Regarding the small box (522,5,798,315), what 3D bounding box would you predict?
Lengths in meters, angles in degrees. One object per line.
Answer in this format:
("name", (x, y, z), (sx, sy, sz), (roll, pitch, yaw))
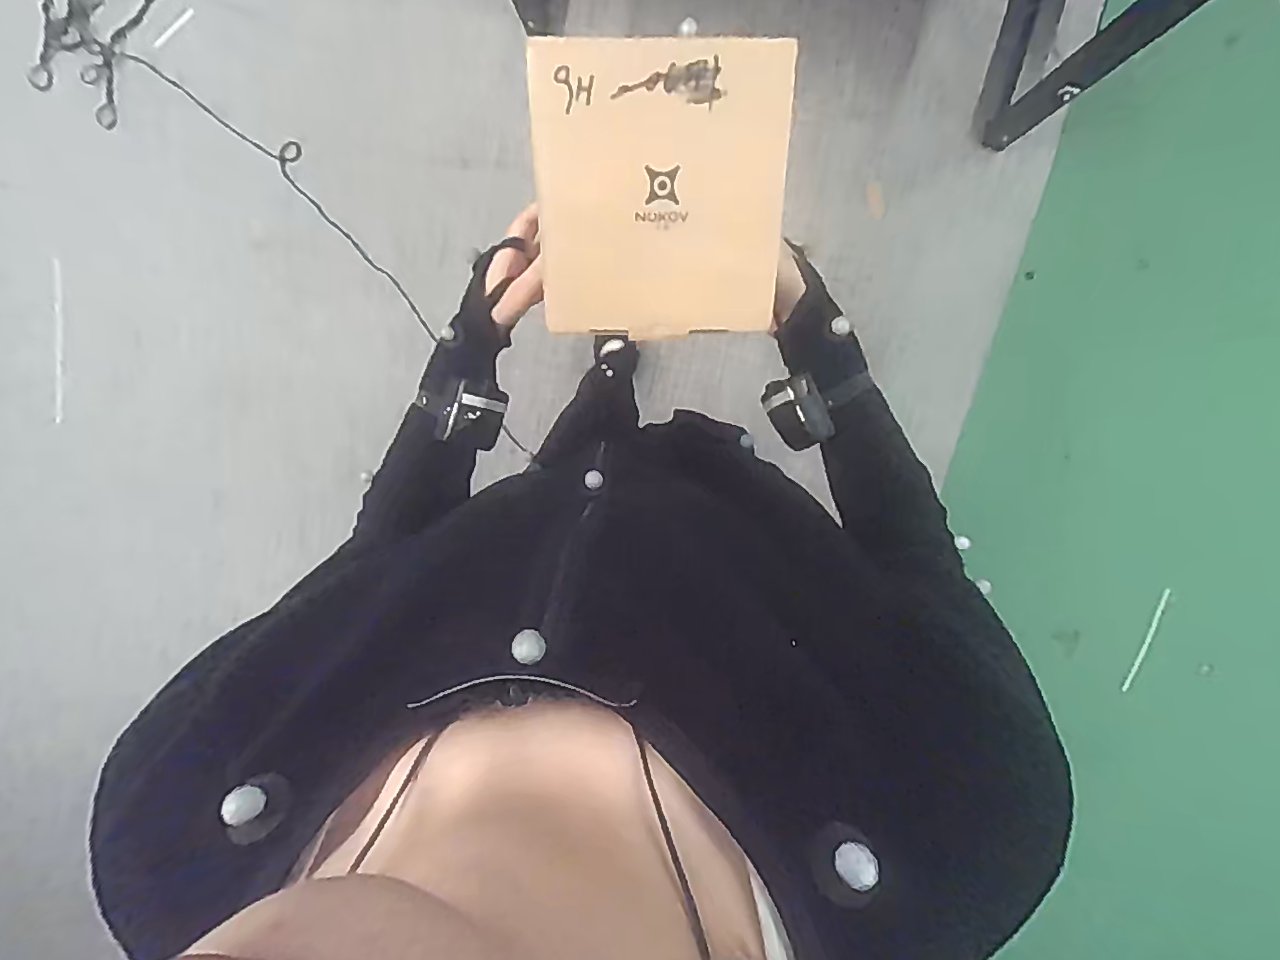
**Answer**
("small box", (0.010, -0.234, 0.425), (0.168, 0.176, 0.179), (0, 116, -1))
